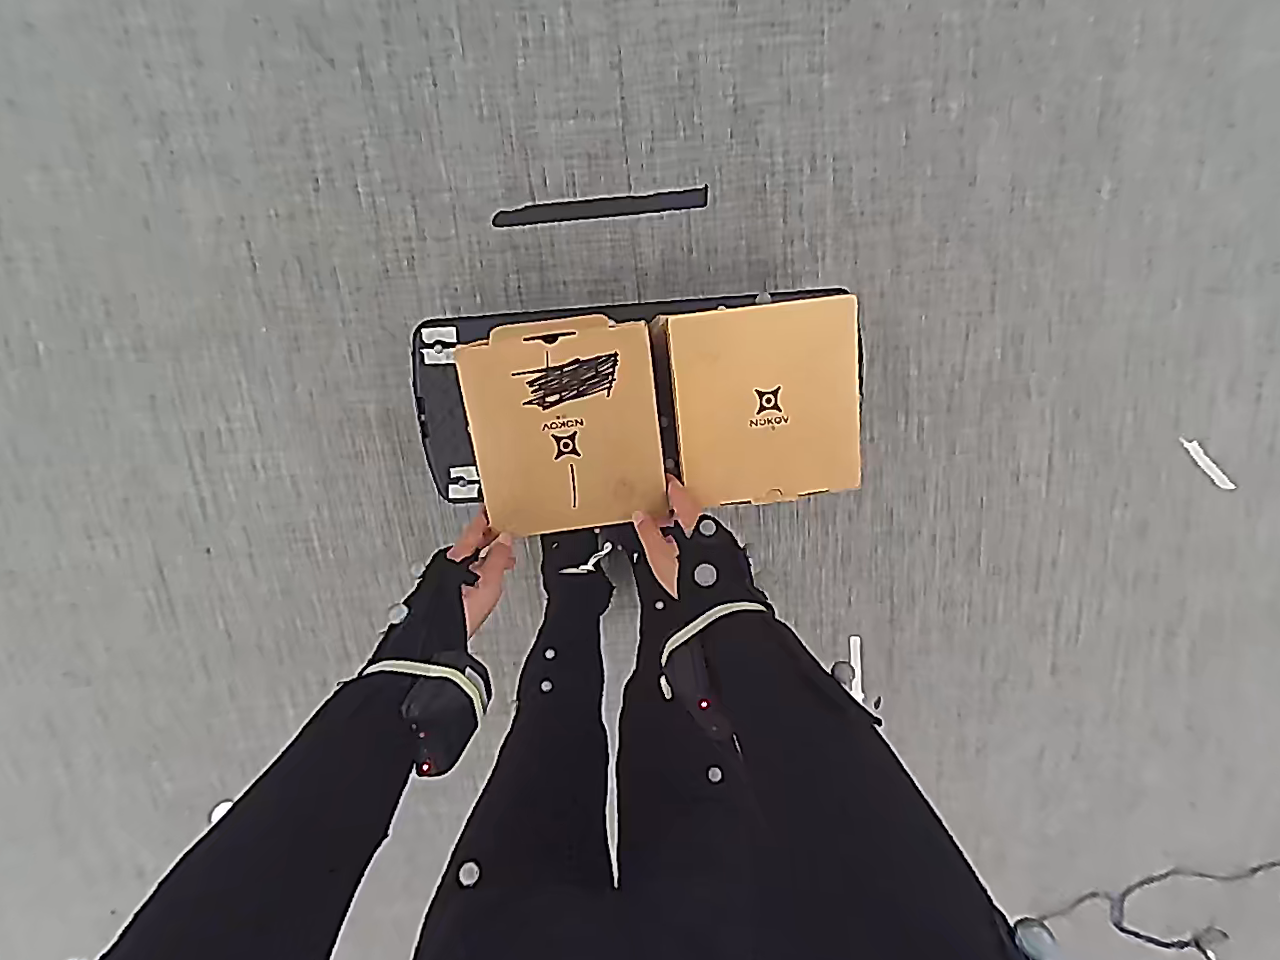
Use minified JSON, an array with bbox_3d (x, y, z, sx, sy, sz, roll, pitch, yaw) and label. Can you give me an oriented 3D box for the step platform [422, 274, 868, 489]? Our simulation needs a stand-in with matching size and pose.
[{"bbox_3d":[0.010,-0.159,0.887,0.684,0.204,0.286,-5,102,-1],"label":"step platform"}]
